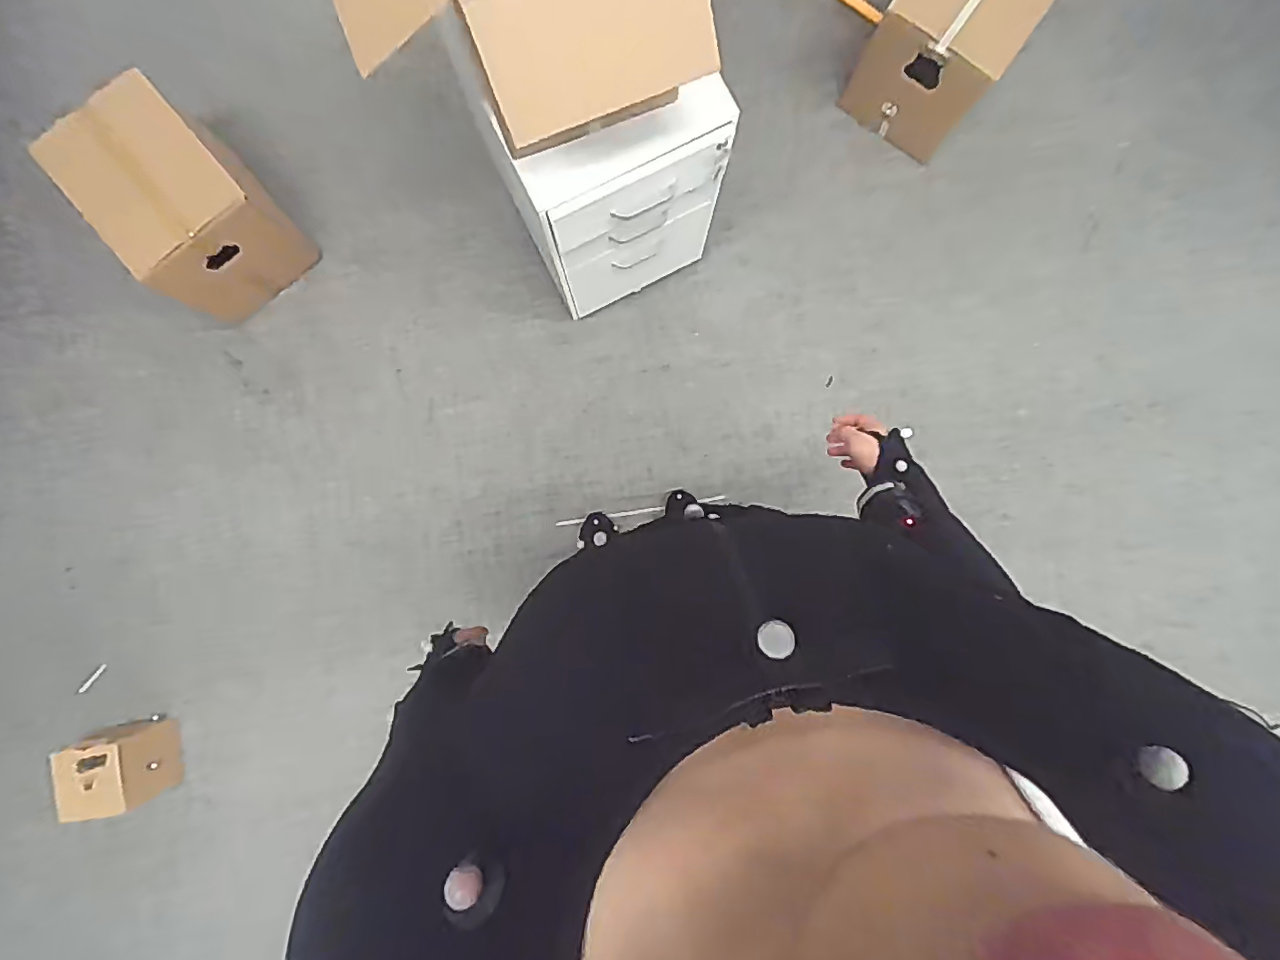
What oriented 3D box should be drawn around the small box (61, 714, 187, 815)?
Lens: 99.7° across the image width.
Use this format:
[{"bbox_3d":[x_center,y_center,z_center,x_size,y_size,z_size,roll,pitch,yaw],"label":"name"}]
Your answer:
[{"bbox_3d":[-1.322,0.722,1.397,0.168,0.176,0.179,-8,88,-1],"label":"small box"}]
